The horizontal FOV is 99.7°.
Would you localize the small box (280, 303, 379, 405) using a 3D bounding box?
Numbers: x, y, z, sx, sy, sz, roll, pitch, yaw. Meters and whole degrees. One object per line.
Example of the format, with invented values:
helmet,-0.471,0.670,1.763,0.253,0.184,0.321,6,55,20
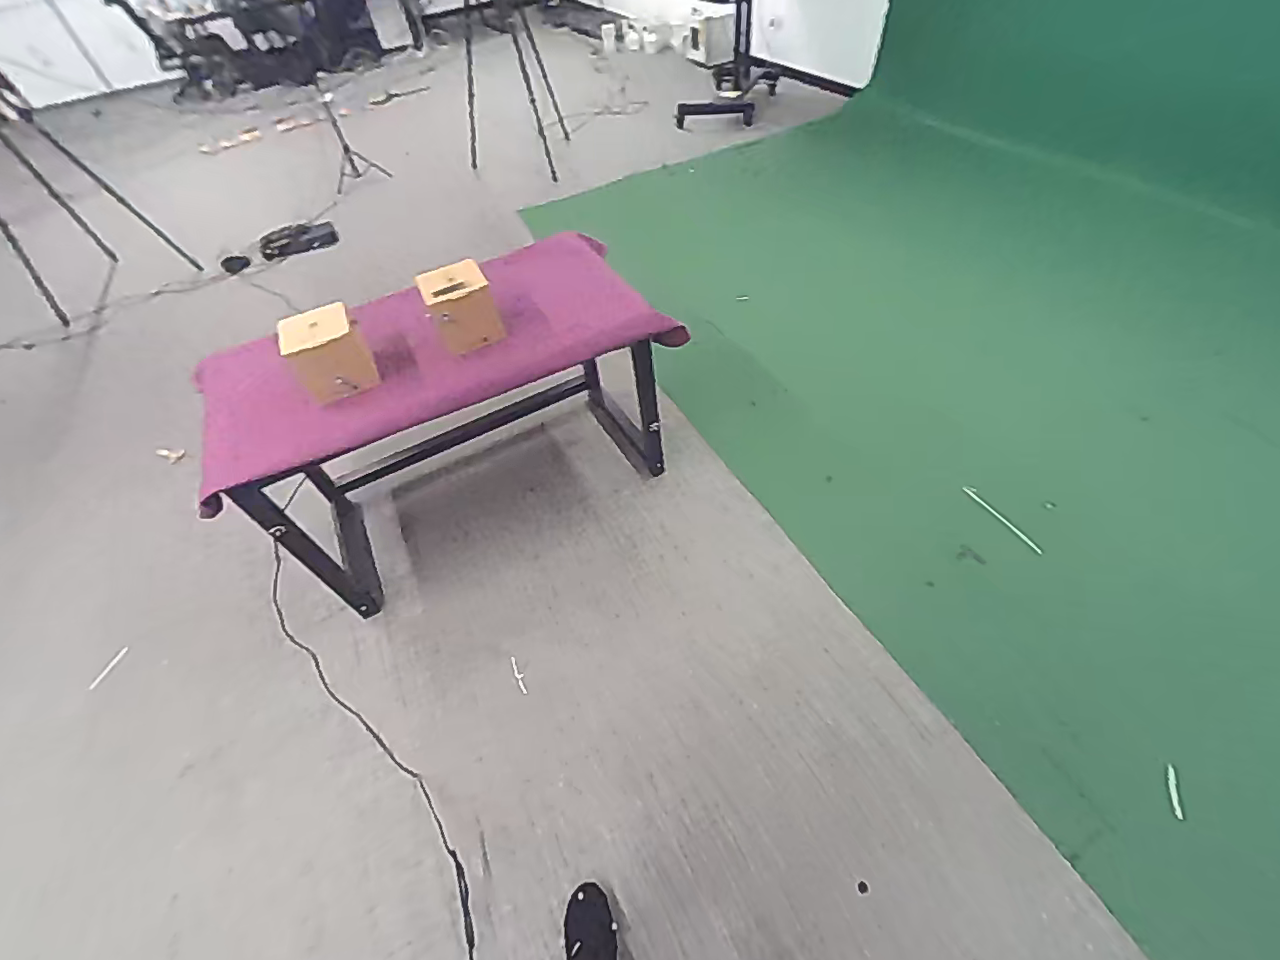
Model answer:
small box,-0.808,-0.327,1.413,0.168,0.176,0.179,-24,52,-13
